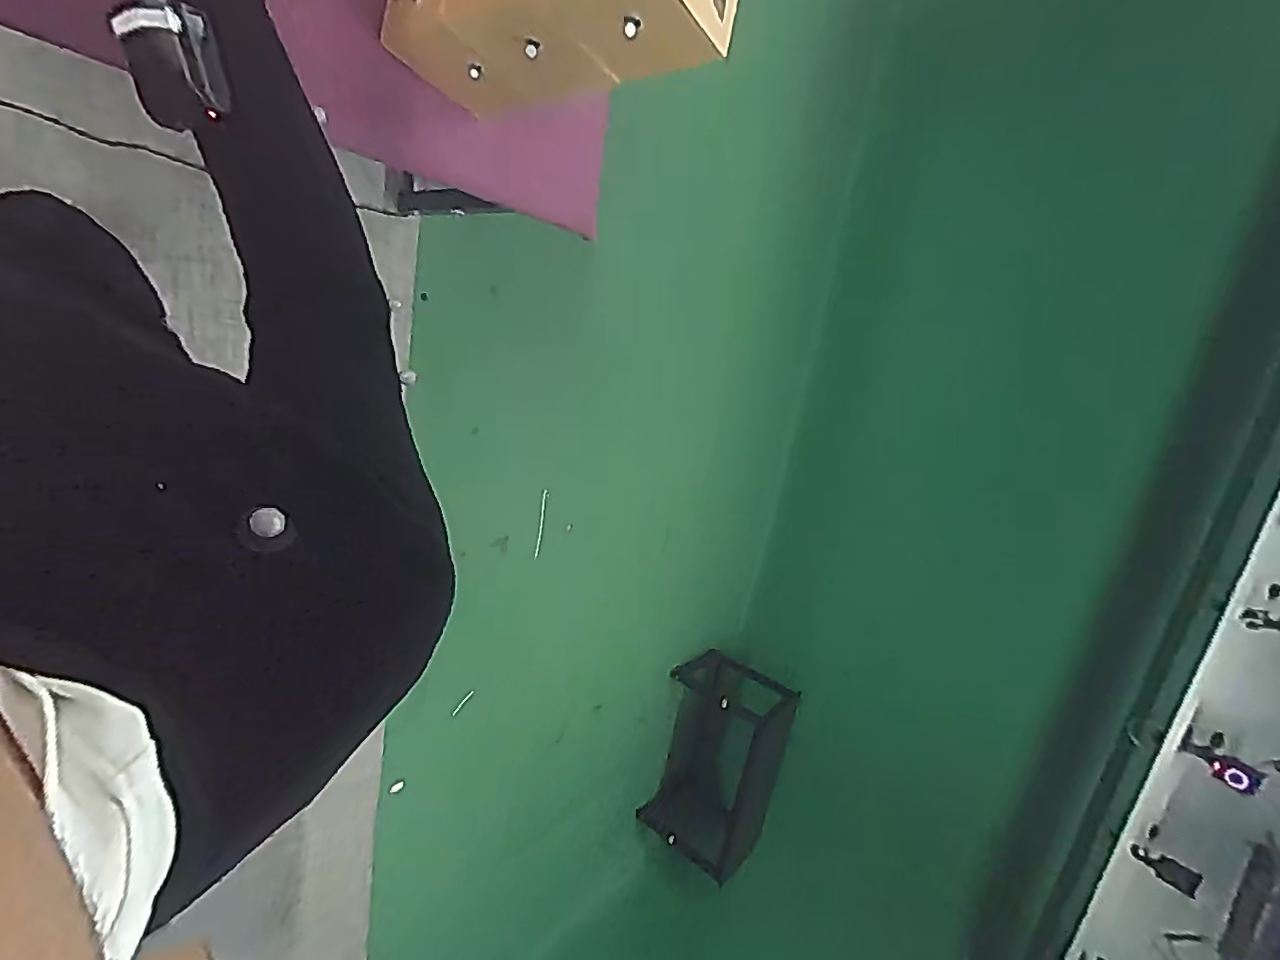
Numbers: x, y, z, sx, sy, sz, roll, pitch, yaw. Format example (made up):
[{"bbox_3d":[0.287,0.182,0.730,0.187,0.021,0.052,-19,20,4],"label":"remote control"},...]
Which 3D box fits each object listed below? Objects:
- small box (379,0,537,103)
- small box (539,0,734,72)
[{"bbox_3d":[-0.253,-0.694,0.800,0.179,0.176,0.168,7,100,-55],"label":"small box"},{"bbox_3d":[0.002,-0.604,0.615,0.179,0.176,0.168,1,105,-53],"label":"small box"}]
